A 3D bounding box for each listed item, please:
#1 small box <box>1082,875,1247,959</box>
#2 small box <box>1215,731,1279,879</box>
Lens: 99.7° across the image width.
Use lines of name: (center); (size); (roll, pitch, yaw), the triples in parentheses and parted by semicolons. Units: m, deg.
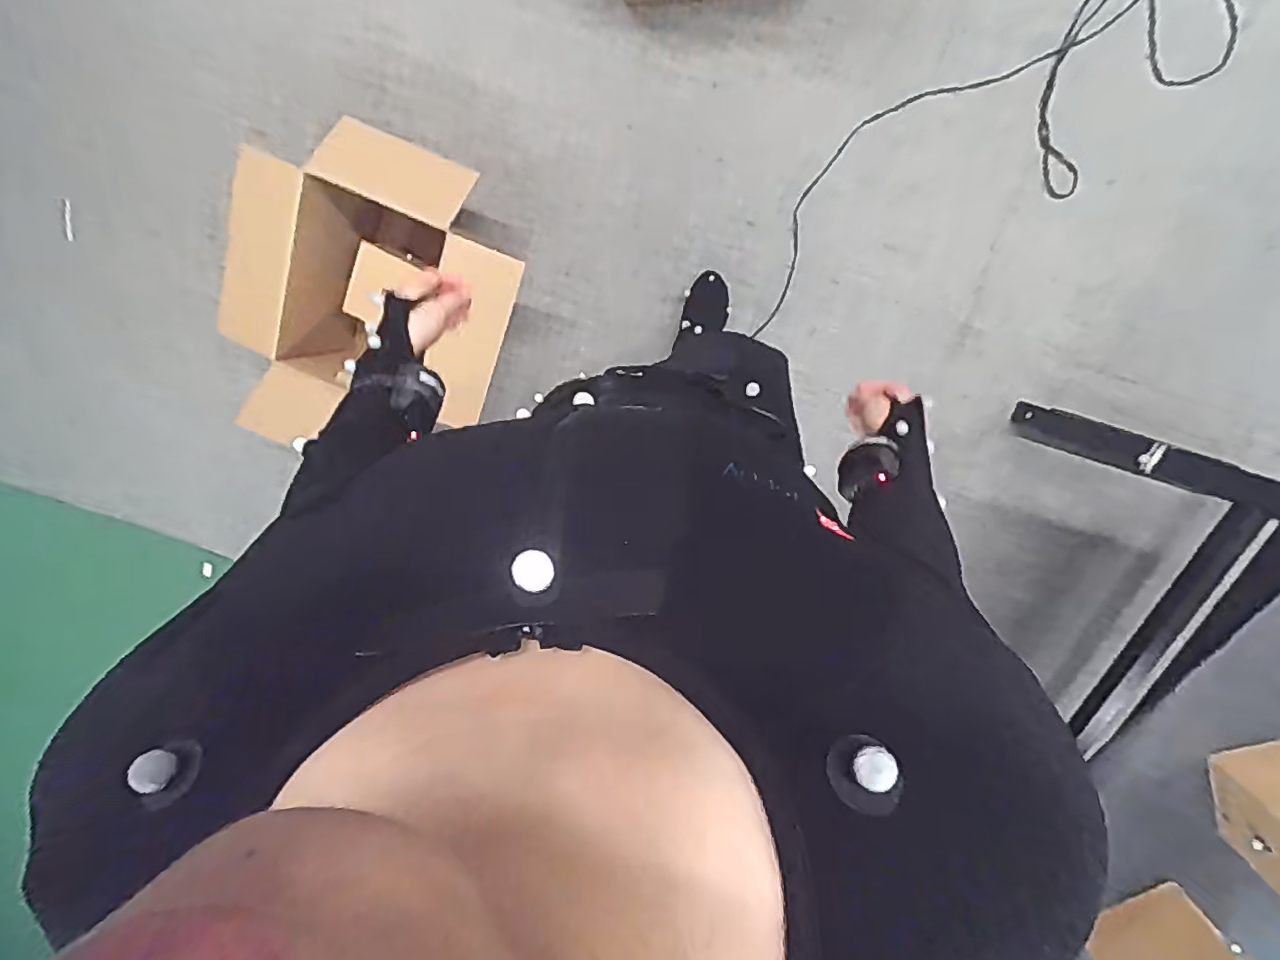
small box: (0.838, 0.765, 0.831); (0.179, 0.176, 0.168); (-42, 101, 16)
small box: (0.926, 0.453, 0.716); (0.179, 0.176, 0.168); (-21, 106, 12)
